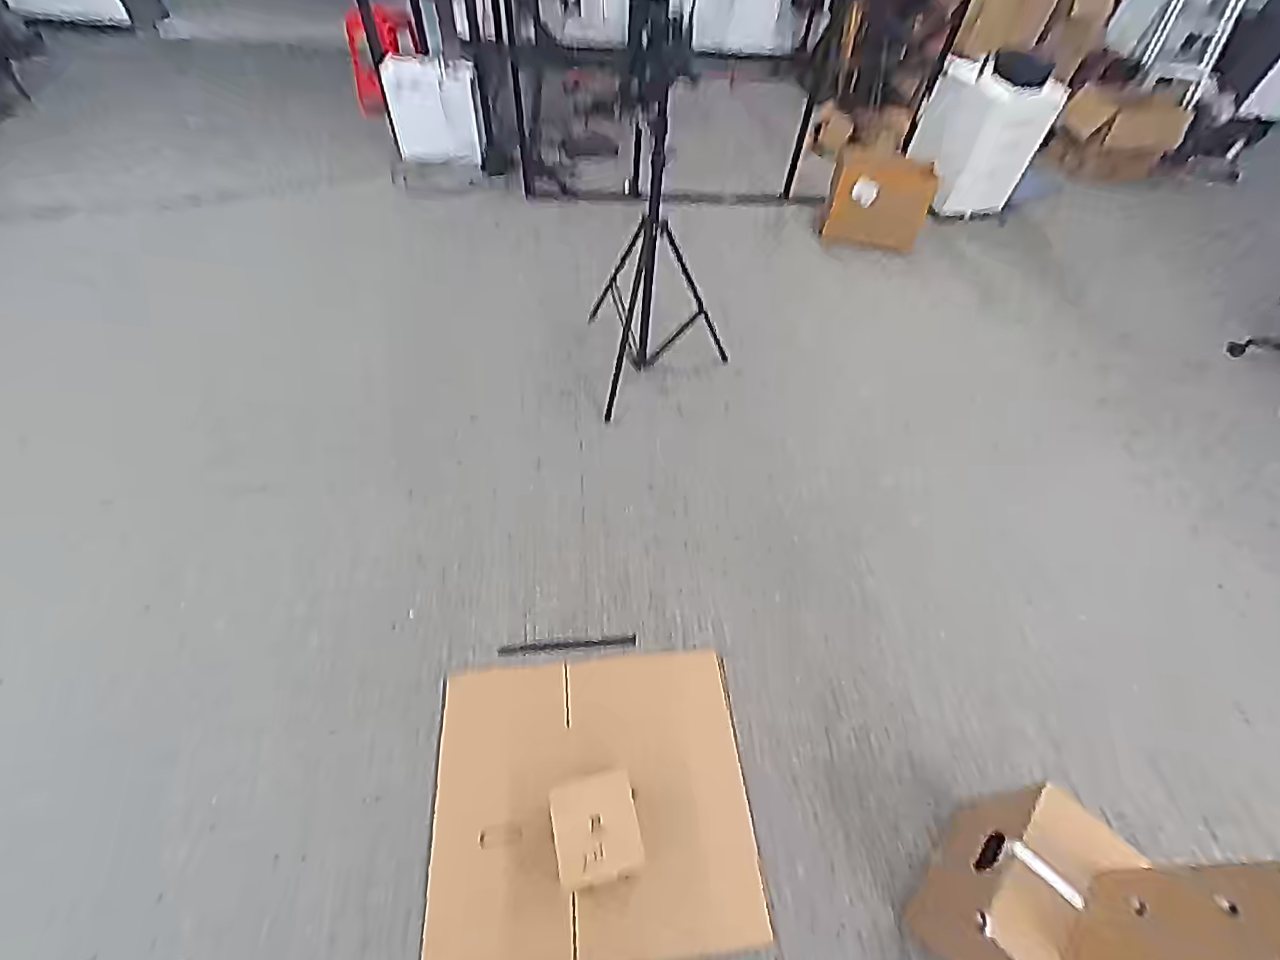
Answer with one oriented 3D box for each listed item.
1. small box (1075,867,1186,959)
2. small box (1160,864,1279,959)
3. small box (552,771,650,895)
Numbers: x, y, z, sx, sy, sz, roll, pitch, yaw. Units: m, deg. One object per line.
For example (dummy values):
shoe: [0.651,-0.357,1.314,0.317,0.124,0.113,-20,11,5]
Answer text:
small box: [0.805,0.721,0.805,0.168,0.176,0.179,39,60,23]
small box: [0.817,0.620,0.677,0.168,0.176,0.179,39,59,23]
small box: [-0.082,0.727,1.112,0.168,0.176,0.179,-11,55,-9]
